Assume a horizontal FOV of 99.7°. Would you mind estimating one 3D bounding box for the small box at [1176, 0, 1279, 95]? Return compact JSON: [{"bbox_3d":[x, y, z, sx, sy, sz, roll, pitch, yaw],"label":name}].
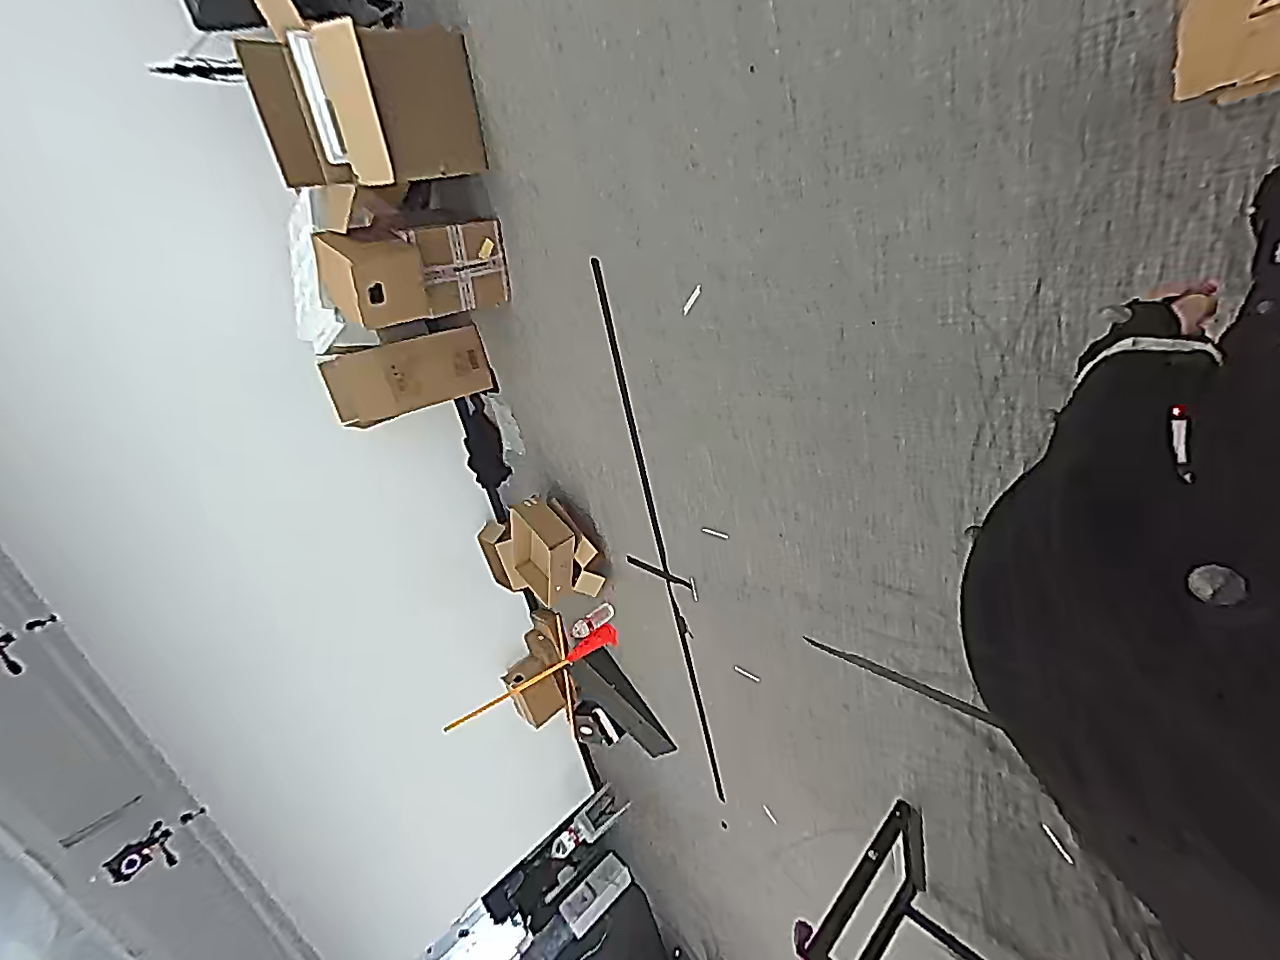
[{"bbox_3d":[0.827,-0.629,0.695,0.168,0.176,0.179,11,122,49],"label":"small box"}]
